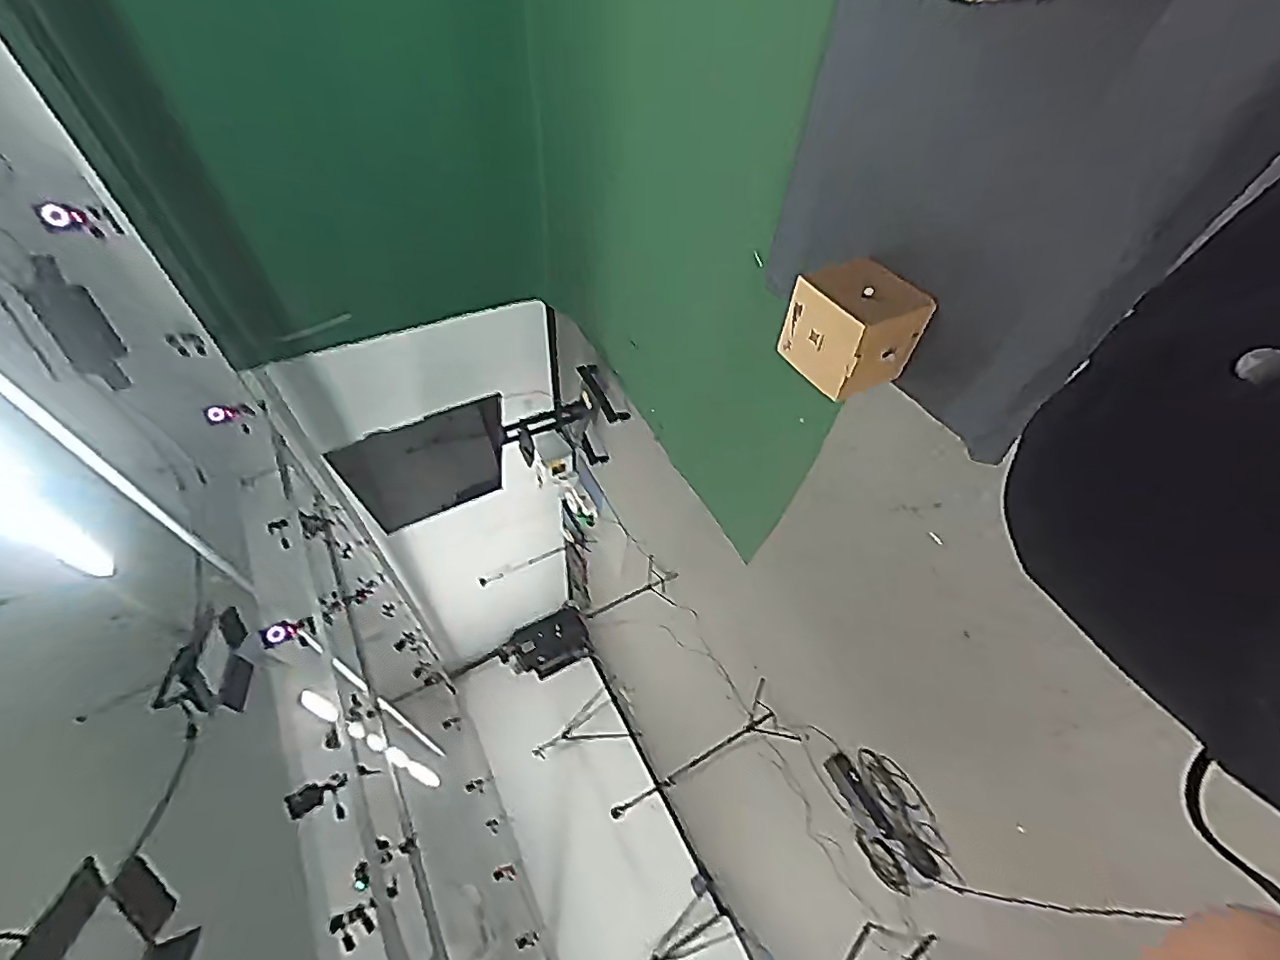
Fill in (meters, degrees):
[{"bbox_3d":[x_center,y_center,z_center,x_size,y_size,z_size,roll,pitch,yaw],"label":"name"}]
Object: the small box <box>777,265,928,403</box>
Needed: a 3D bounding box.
[{"bbox_3d":[0.391,-0.278,1.008,0.179,0.176,0.168,53,154,32],"label":"small box"}]
